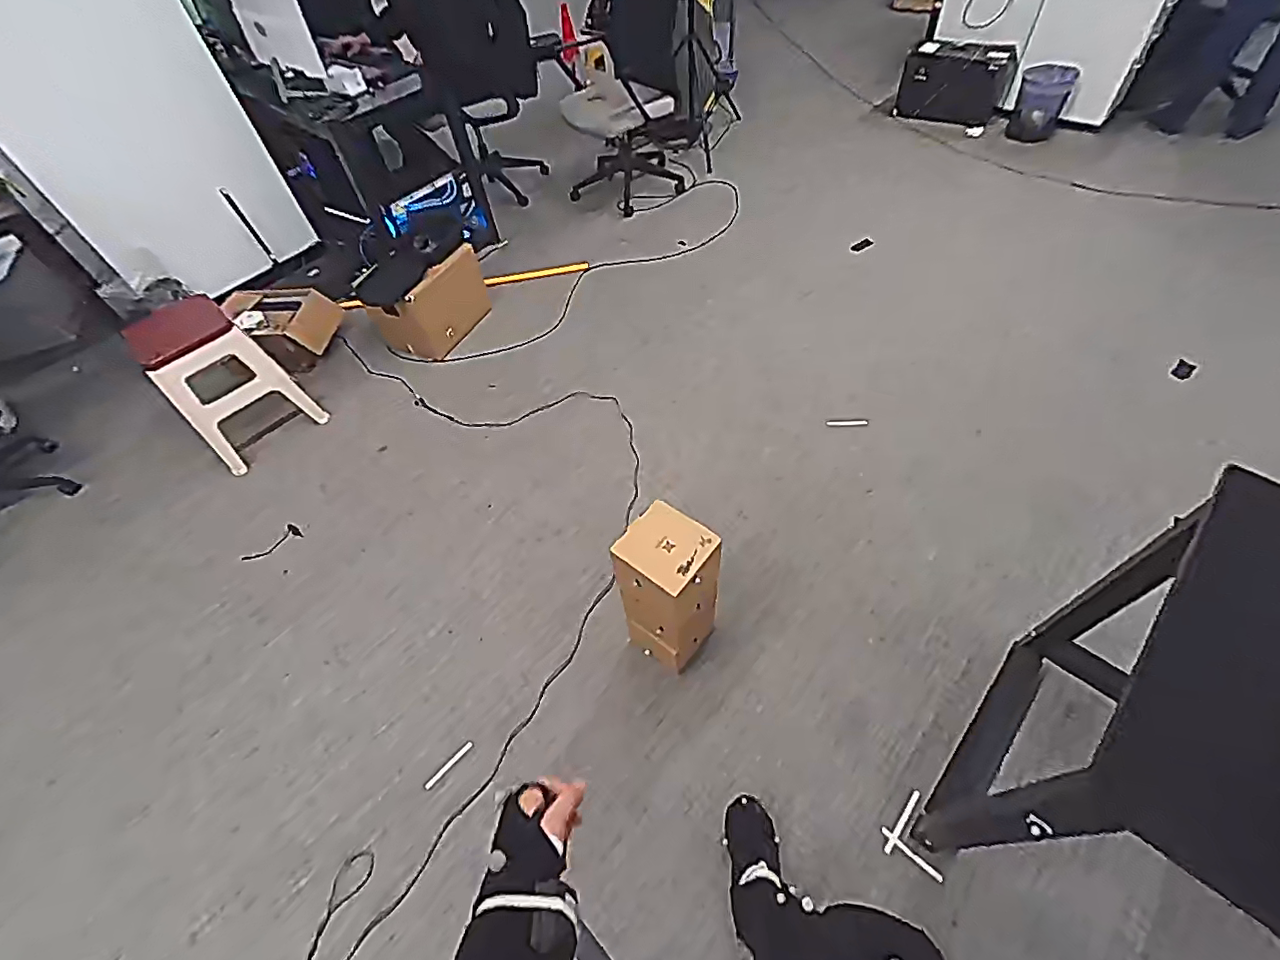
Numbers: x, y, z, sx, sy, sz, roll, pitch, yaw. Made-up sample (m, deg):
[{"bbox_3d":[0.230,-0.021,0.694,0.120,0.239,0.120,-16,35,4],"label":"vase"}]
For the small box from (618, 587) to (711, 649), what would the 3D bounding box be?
[{"bbox_3d":[0.068,0.280,1.321,0.168,0.176,0.179,29,60,23],"label":"small box"}]

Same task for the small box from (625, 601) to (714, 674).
[{"bbox_3d":[0.080,0.382,1.447,0.168,0.176,0.179,31,63,26],"label":"small box"}]

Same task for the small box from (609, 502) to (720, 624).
[{"bbox_3d":[0.056,0.186,1.188,0.179,0.176,0.168,31,62,25],"label":"small box"}]
